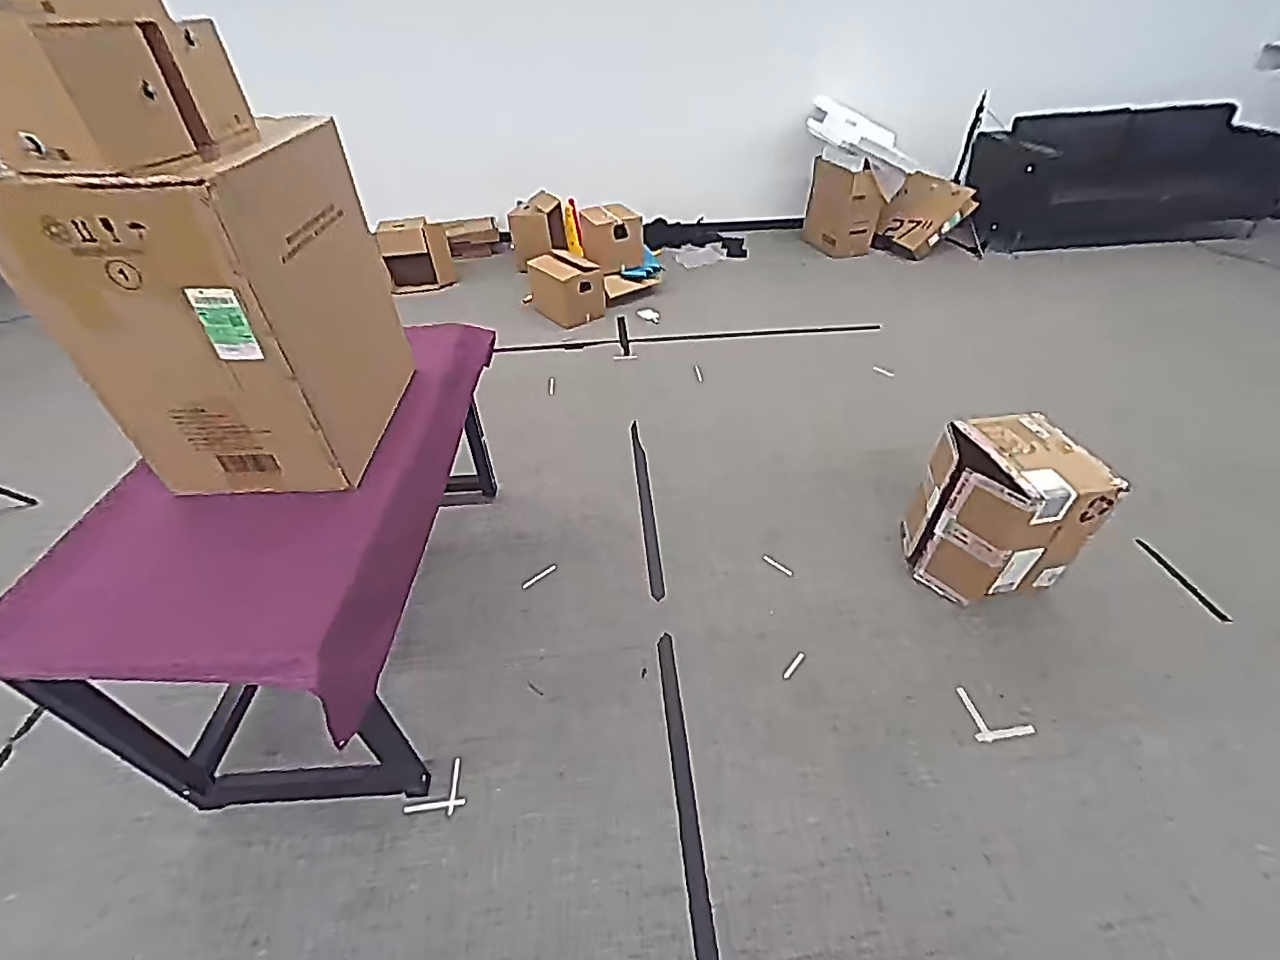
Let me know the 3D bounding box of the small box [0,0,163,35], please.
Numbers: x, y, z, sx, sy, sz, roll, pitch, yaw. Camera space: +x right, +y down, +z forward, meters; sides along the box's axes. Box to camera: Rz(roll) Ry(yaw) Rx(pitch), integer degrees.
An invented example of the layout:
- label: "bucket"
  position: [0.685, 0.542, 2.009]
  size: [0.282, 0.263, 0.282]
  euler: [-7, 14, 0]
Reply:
- label: "small box"
  position: [-0.846, -0.747, 0.768]
  size: [0.168, 0.176, 0.179]
  euler: [-4, 41, -4]

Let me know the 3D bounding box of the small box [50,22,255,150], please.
- label: "small box"
  position: [-0.848, -0.701, 0.965]
  size: [0.179, 0.176, 0.168]
  euler: [-3, 43, -1]
